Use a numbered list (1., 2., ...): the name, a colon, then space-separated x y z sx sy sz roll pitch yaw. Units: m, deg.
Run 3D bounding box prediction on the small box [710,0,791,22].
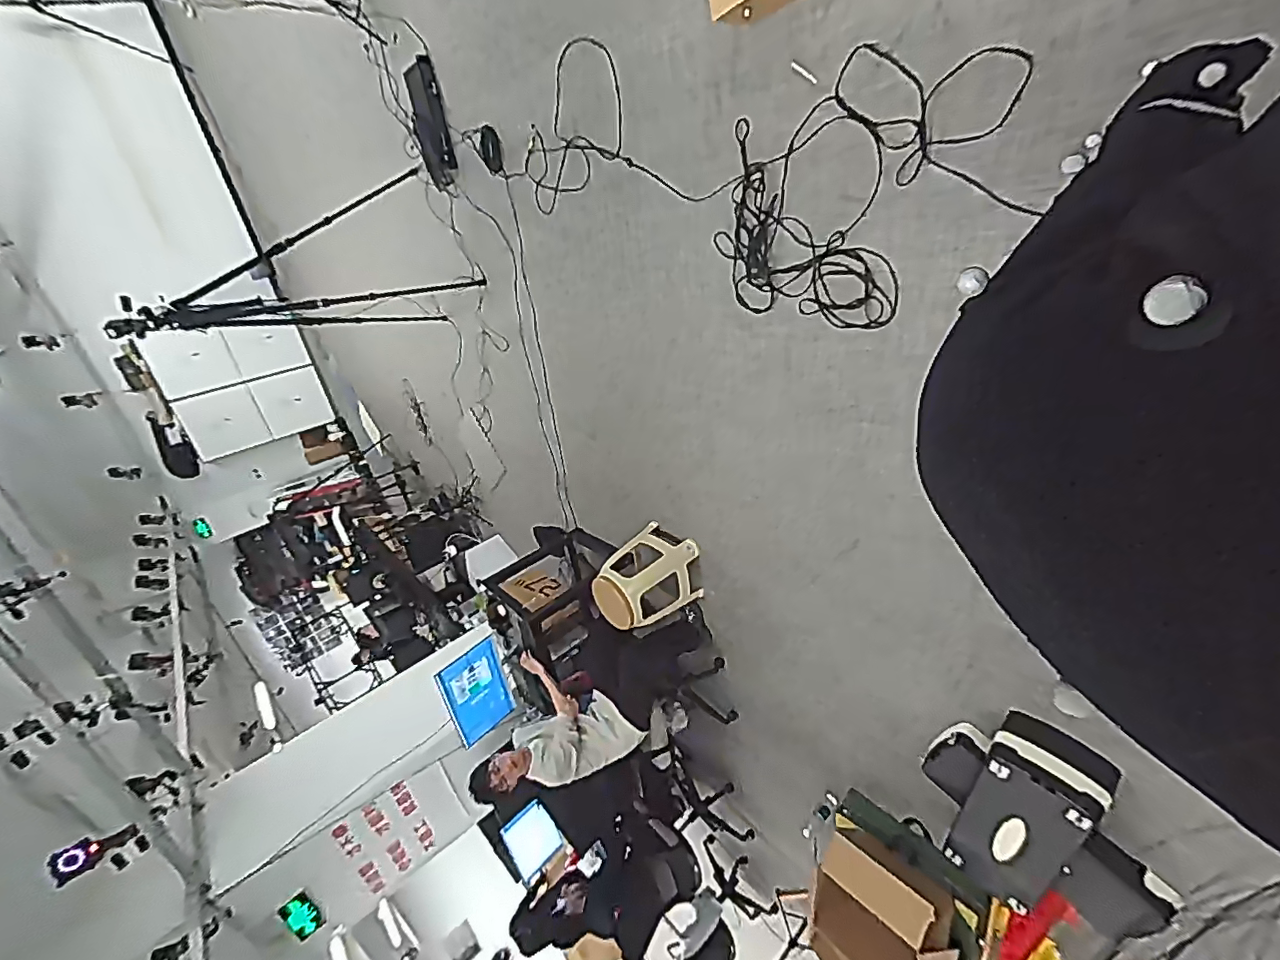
1. small box: 0.279 -1.243 1.304 0.179 0.176 0.168 13 125 49
